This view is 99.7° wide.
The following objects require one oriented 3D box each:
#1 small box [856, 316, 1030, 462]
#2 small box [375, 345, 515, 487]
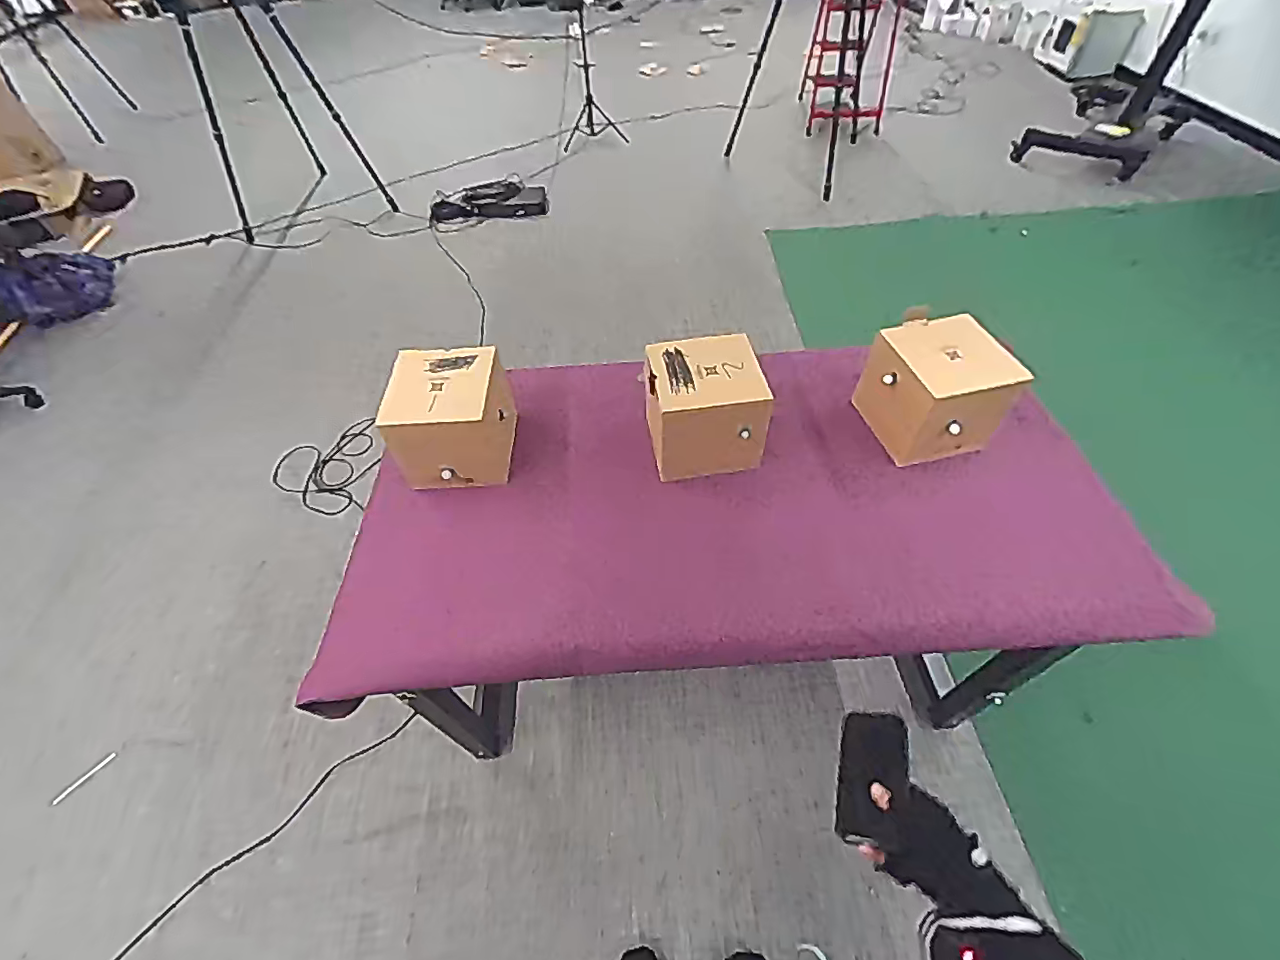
[{"bbox_3d":[0.497,-0.147,0.919,0.168,0.176,0.179,-12,52,-6],"label":"small box"},{"bbox_3d":[-0.316,-0.107,0.921,0.168,0.176,0.179,-3,53,1],"label":"small box"}]
